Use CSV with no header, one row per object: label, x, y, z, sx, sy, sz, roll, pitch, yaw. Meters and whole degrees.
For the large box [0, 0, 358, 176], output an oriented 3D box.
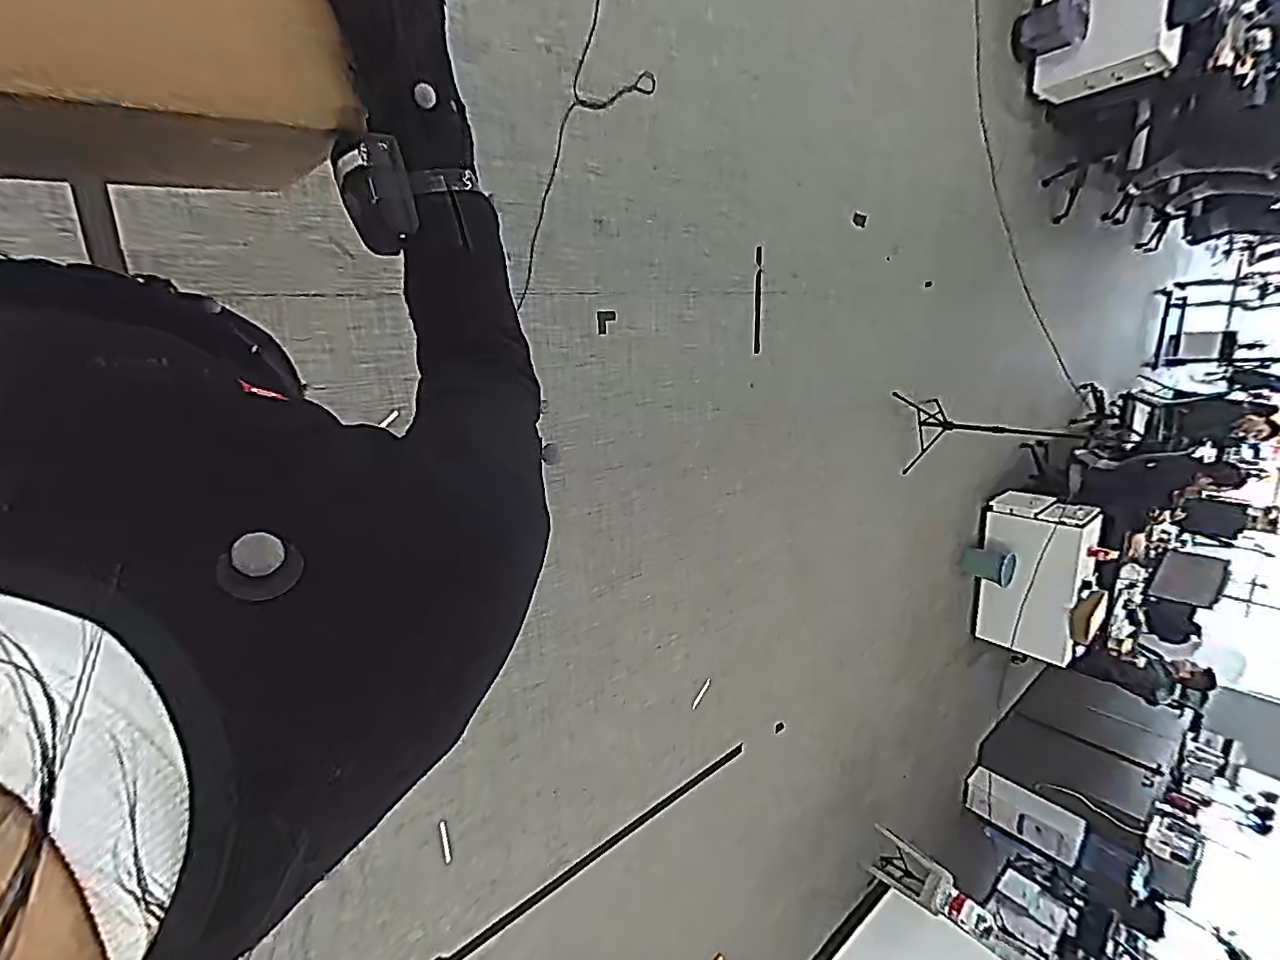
large box,-0.439,-0.362,0.286,0.408,0.320,0.320,-20,119,-37
